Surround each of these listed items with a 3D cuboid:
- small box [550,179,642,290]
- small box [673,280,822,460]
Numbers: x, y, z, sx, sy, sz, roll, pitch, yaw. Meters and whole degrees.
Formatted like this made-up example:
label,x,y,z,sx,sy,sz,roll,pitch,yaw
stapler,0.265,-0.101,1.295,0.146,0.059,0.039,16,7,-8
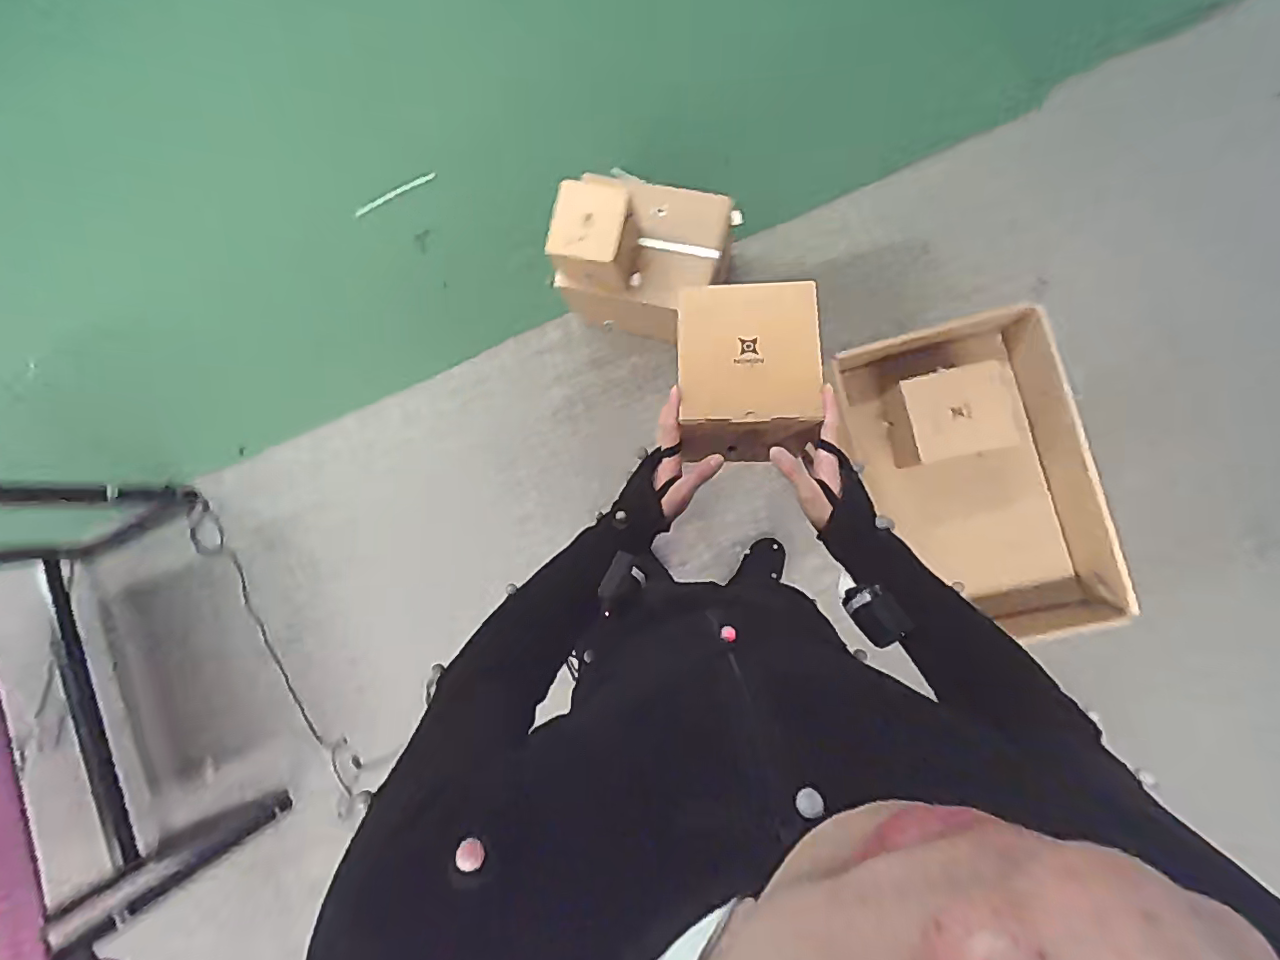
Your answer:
label,x,y,z,sx,sy,sz,roll,pitch,yaw
small box,-0.098,-0.591,1.316,0.168,0.176,0.179,14,91,9
small box,0.127,-0.133,0.702,0.168,0.176,0.179,-2,77,4
